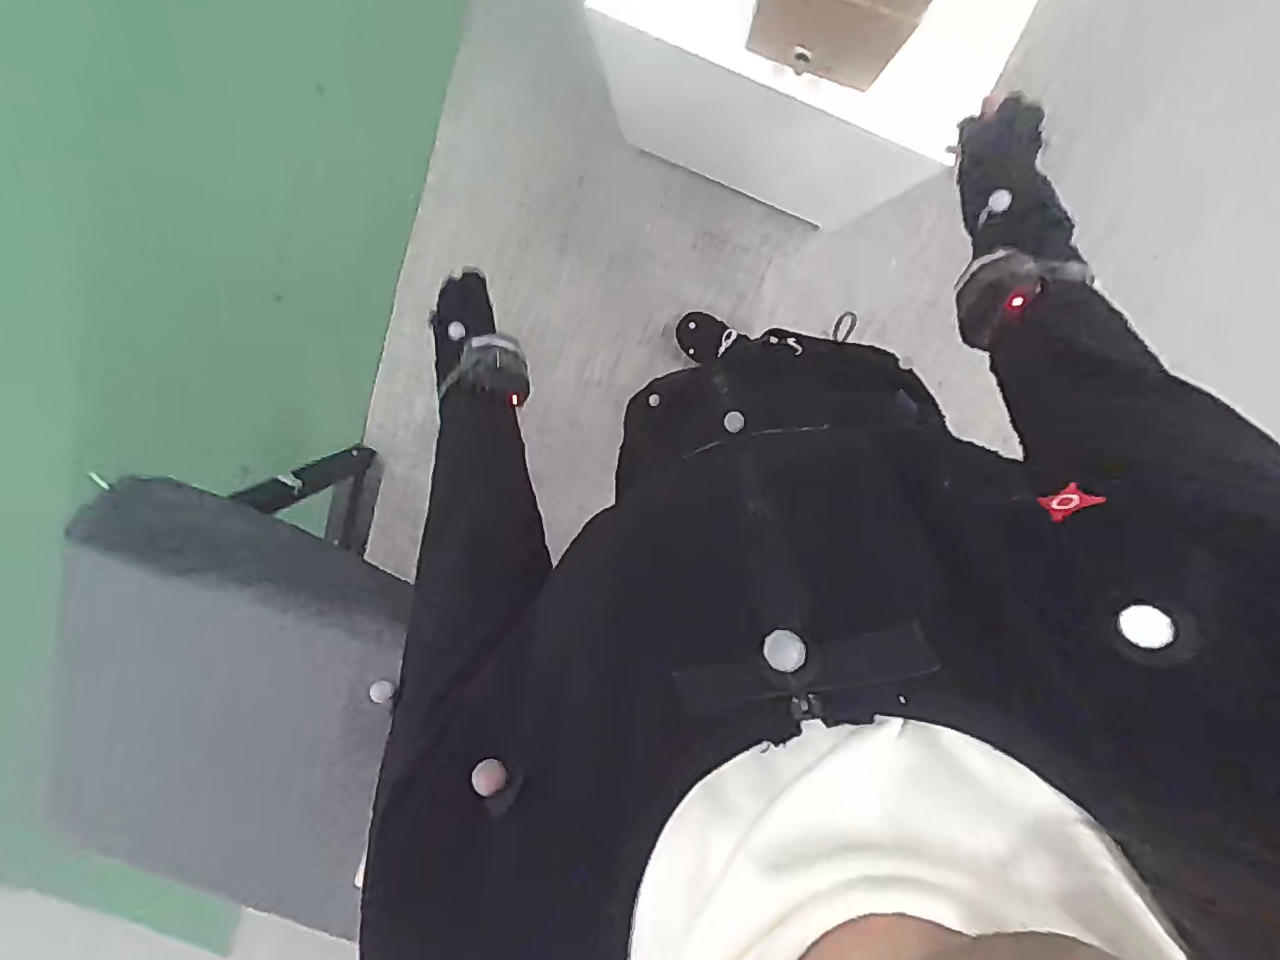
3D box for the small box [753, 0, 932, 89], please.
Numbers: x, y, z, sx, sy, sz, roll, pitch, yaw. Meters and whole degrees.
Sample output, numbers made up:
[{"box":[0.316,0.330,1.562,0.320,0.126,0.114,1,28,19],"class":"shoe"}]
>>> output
[{"box":[0.225,-0.559,0.565,0.168,0.176,0.179,18,108,1],"class":"small box"}]
